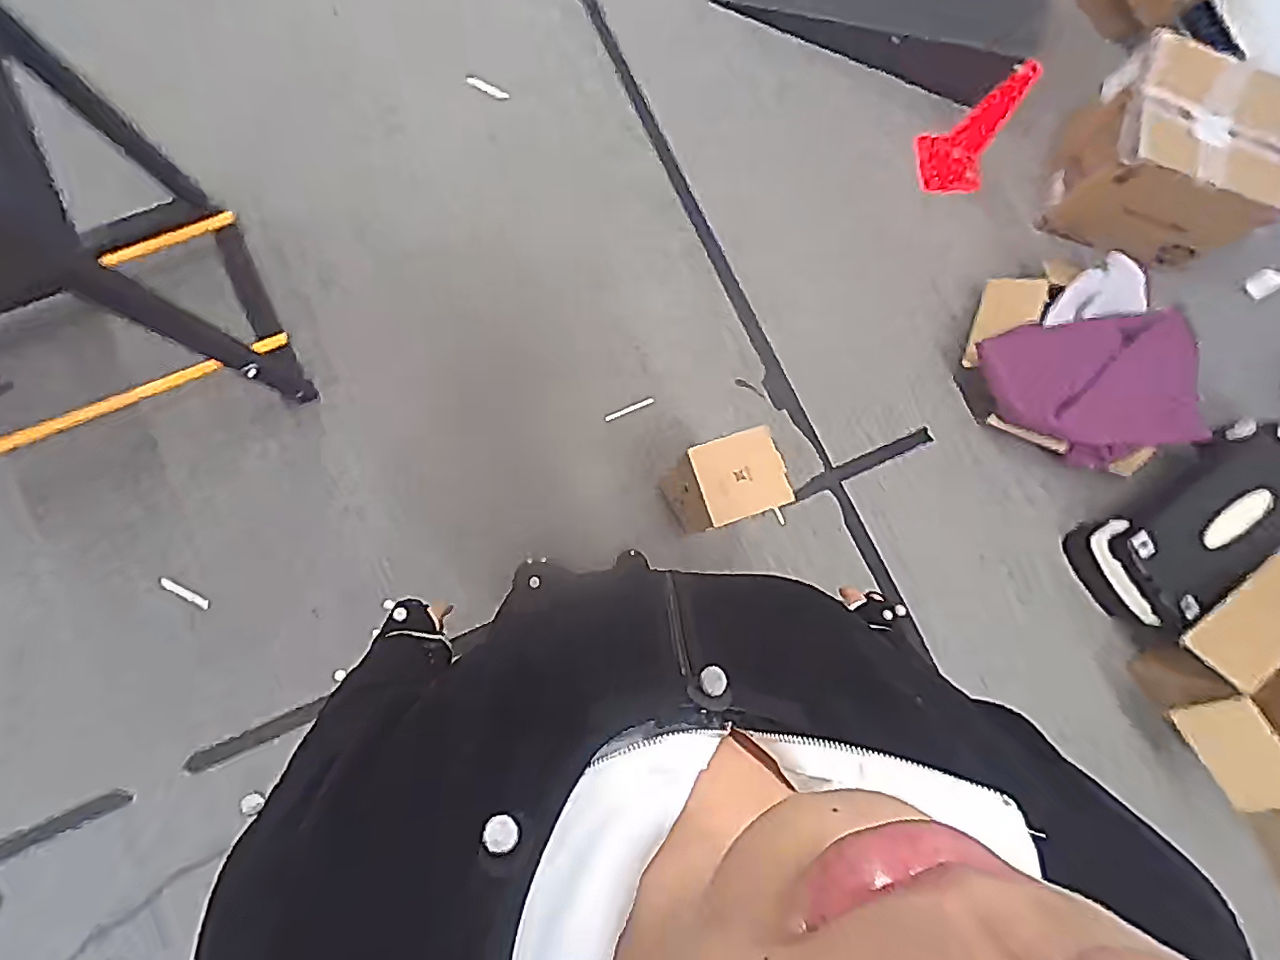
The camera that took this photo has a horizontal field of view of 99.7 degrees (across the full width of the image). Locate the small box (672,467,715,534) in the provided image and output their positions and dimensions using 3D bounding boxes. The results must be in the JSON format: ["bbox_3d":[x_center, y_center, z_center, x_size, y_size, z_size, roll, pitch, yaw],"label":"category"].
[{"bbox_3d":[0.192,0.021,1.296,0.179,0.176,0.168,-24,85,-7],"label":"small box"}]

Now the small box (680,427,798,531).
[{"bbox_3d":[0.198,0.004,1.134,0.179,0.176,0.168,-18,84,-5],"label":"small box"}]

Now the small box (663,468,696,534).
[{"bbox_3d":[0.176,0.036,1.459,0.168,0.176,0.179,-28,86,-7],"label":"small box"}]
